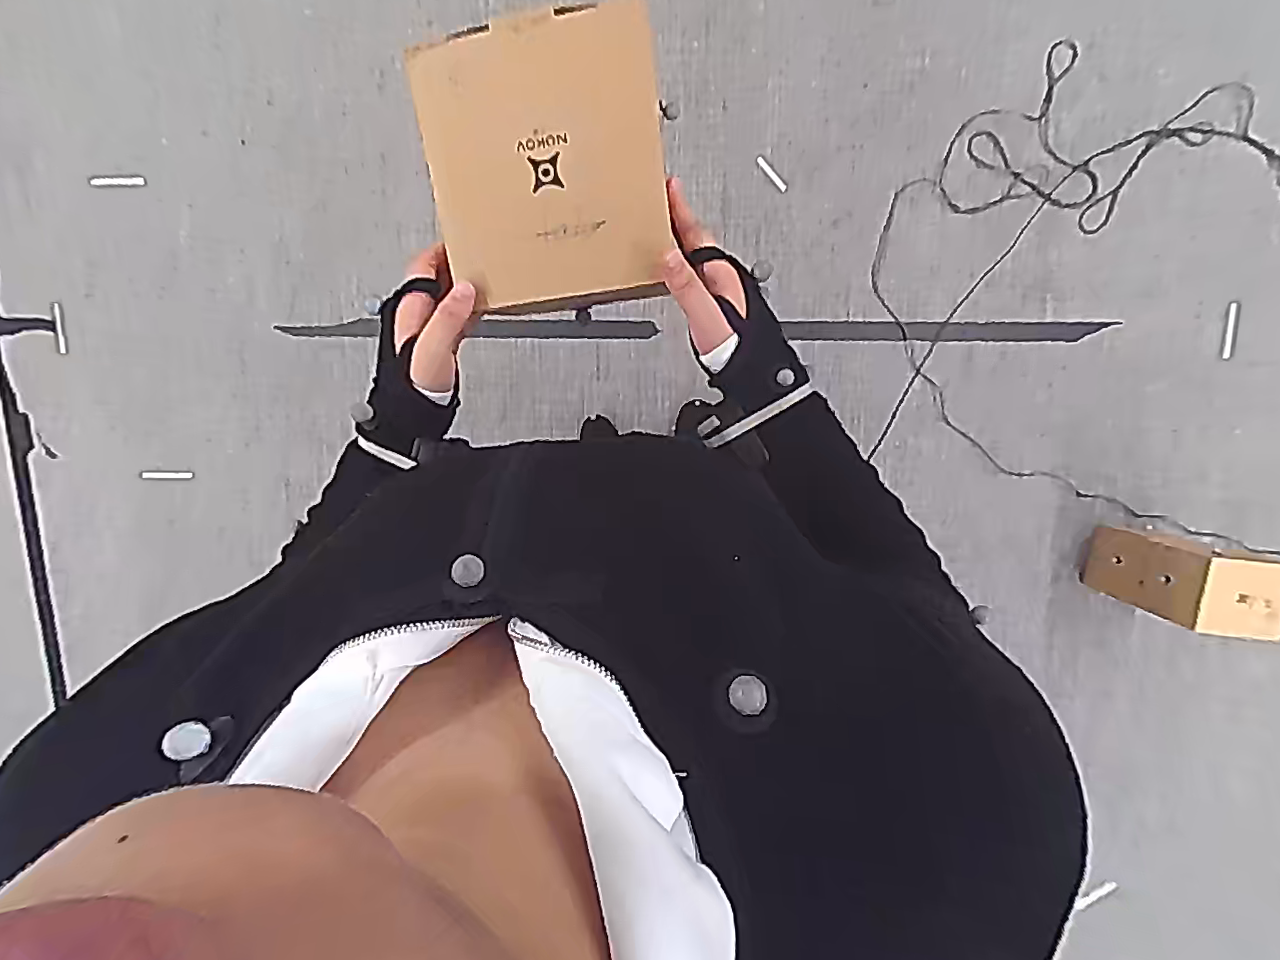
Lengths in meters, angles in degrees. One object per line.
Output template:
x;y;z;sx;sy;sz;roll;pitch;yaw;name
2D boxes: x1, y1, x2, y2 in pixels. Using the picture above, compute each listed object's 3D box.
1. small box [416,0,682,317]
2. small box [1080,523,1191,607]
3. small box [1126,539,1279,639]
-0.056;-0.239;0.453;0.168;0.176;0.179;-6;105;6;small box
1.272;0.220;1.373;0.168;0.176;0.179;8;97;1;small box
1.254;0.235;1.210;0.179;0.176;0.168;5;99;2;small box
